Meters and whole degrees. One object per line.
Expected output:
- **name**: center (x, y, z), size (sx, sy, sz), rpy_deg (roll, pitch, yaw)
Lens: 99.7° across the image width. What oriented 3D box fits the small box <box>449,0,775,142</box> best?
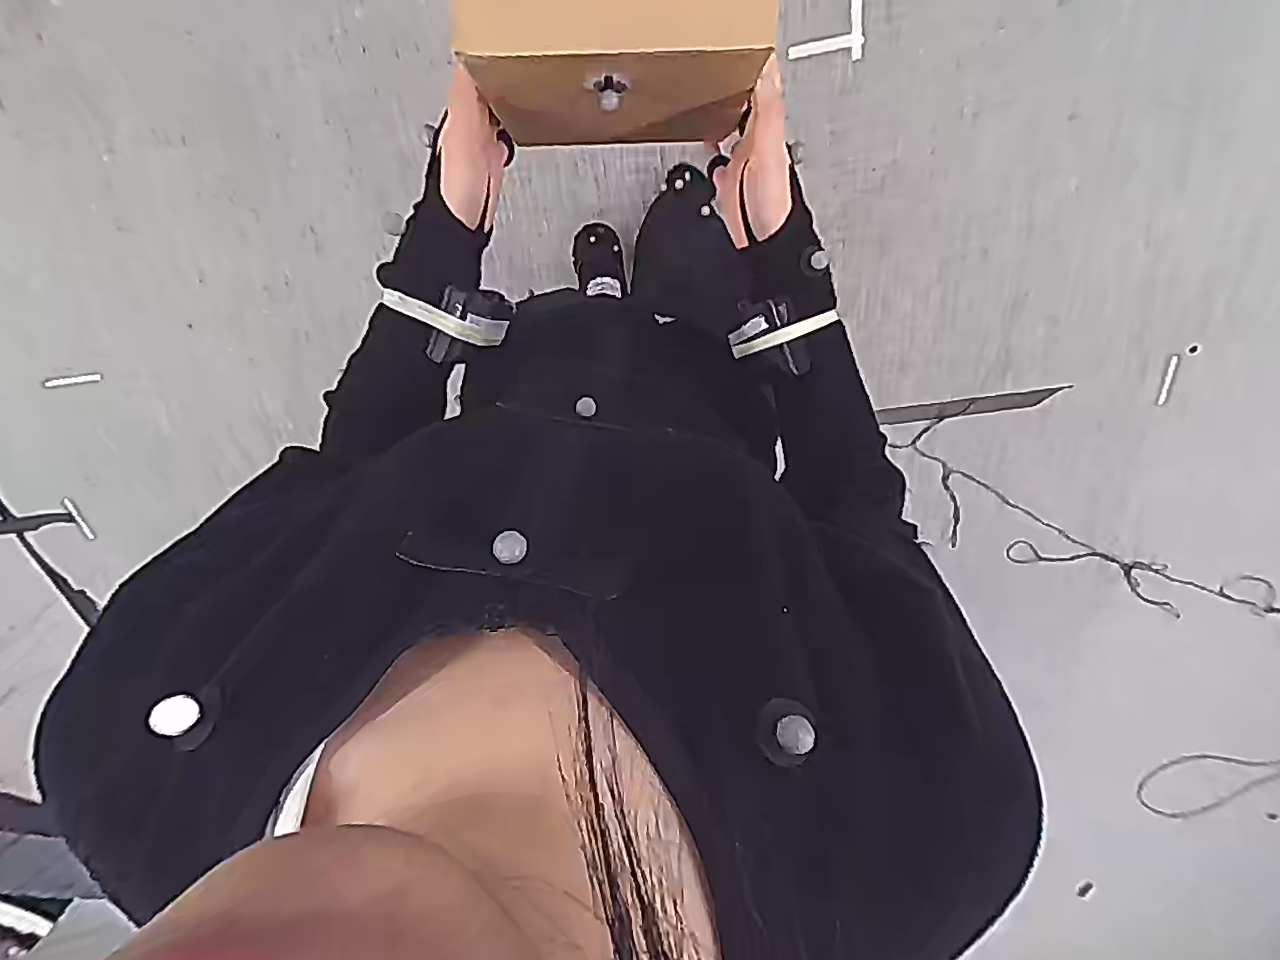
- **small box**: center (-0.017, -0.333, 0.345), size (0.179, 0.176, 0.168), rpy_deg (-2, 108, -1)
